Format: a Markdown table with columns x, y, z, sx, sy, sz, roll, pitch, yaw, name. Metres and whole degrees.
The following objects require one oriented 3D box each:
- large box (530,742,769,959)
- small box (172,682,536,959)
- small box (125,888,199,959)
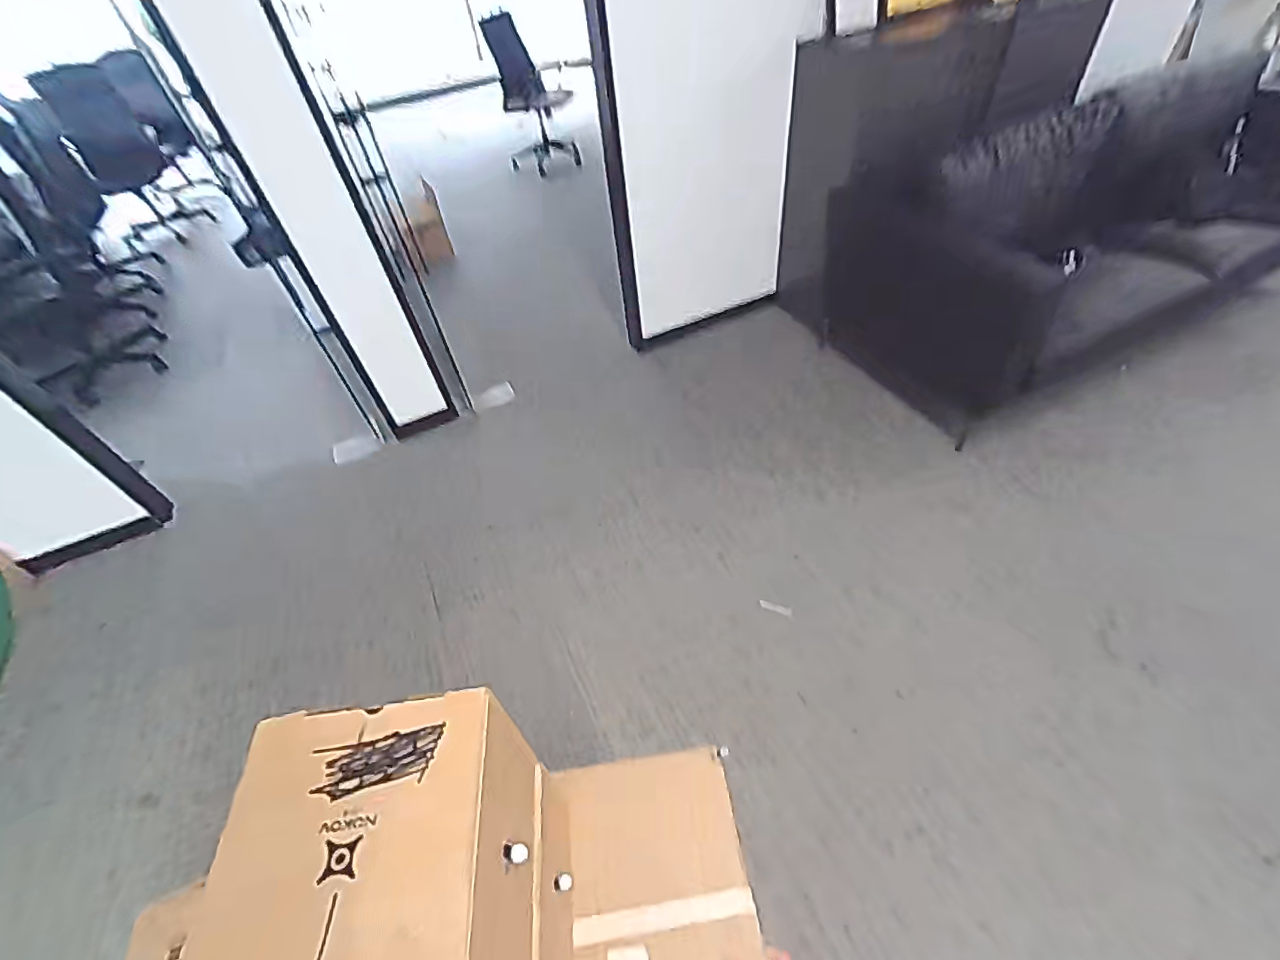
| x | y | z | sx | sy | sz | roll | pitch | yaw | name |
| --- | --- | --- | --- | --- | --- | --- | --- | --- | --- |
| -0.069 | 0.568 | 0.668 | 0.408 | 0.320 | 0.320 | -8 | 48 | -3 | large box |
| -0.175 | 0.273 | 0.392 | 0.168 | 0.176 | 0.179 | -7 | 47 | -1 | small box |
| -0.805 | 0.874 | 0.997 | 0.168 | 0.176 | 0.179 | -14 | 47 | -9 | small box |
